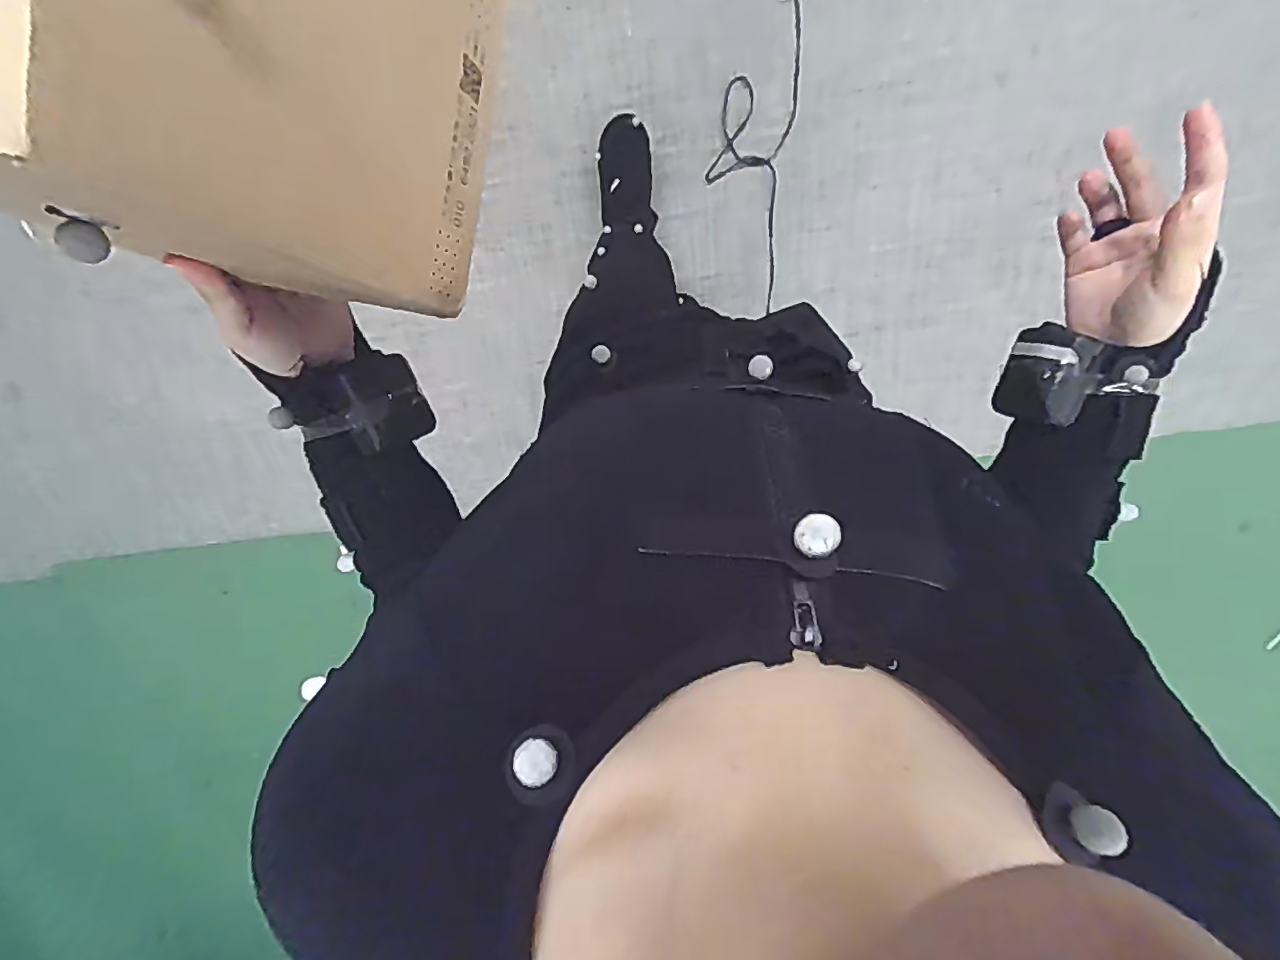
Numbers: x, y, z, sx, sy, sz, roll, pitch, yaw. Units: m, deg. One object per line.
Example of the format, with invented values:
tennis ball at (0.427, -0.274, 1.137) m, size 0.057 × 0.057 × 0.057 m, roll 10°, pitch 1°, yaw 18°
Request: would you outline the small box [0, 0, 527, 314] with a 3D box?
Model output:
small box at (-0.172, -0.174, 0.219) m, size 0.179 × 0.176 × 0.168 m, roll 12°, pitch 98°, yaw 14°
